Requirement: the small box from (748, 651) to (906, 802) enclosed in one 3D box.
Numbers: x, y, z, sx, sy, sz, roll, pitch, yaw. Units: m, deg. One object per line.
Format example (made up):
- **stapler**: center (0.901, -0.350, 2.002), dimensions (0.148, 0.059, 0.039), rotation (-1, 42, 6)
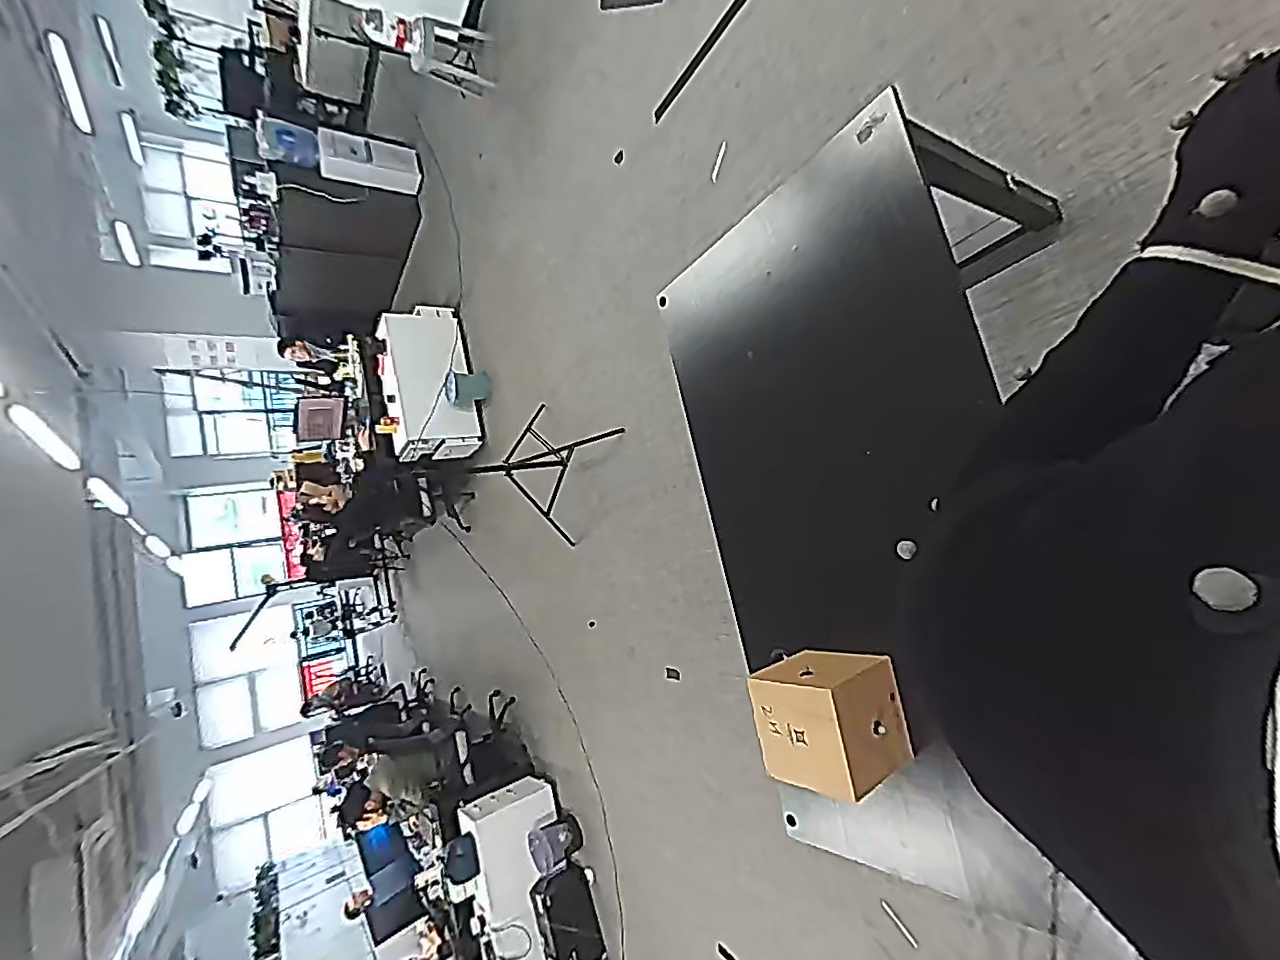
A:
- **small box**: center (0.313, 0.390, 0.893), dimensions (0.179, 0.176, 0.168), rotation (-19, 79, 55)
